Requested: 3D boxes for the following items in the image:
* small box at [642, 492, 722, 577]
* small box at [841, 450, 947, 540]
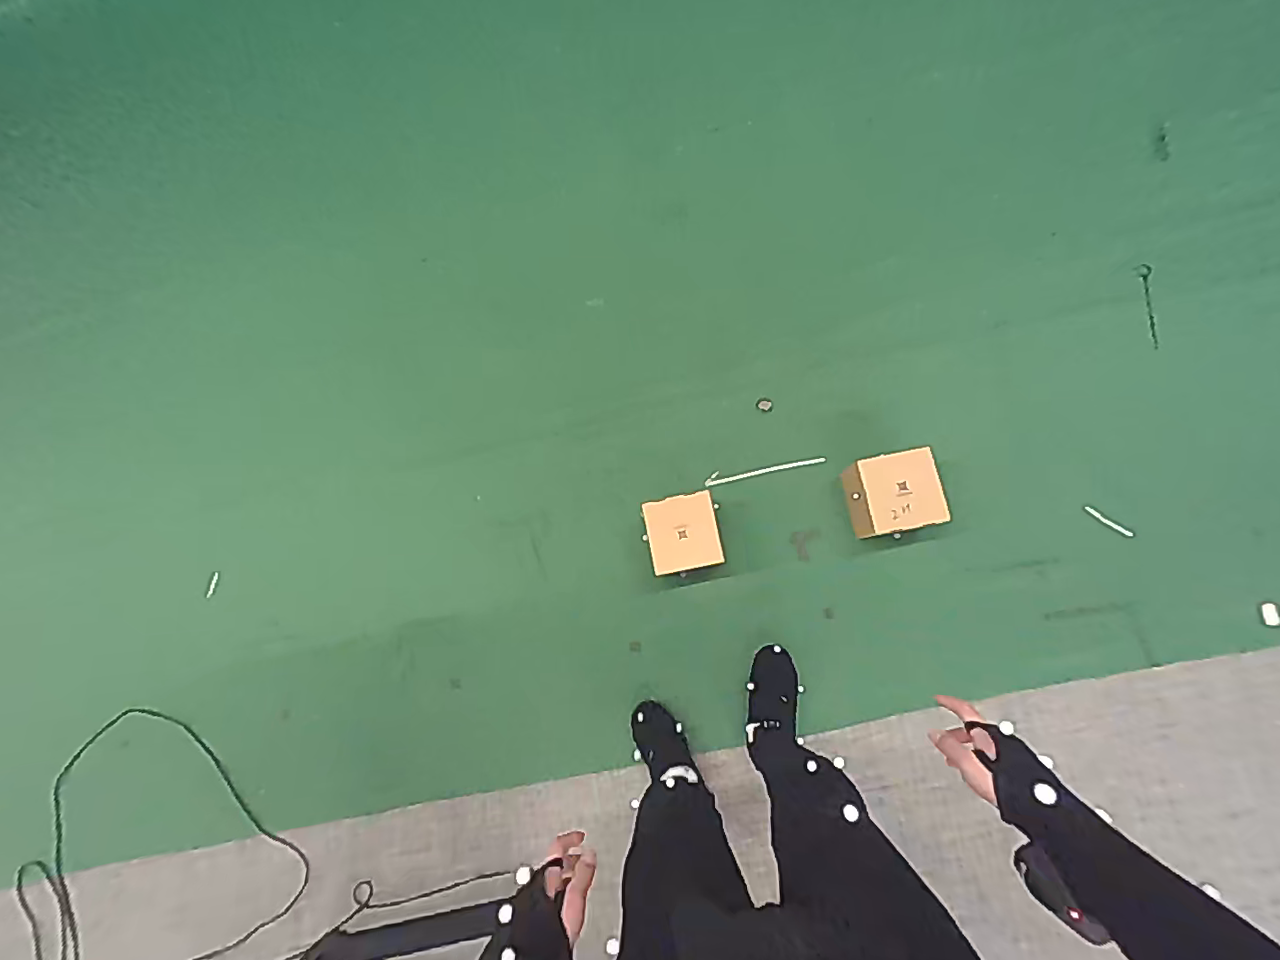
[{"bbox_3d":[0.108,0.140,1.345,0.168,0.176,0.179,-12,78,5],"label":"small box"},{"bbox_3d":[0.600,0.043,1.302,0.168,0.176,0.179,-11,79,5],"label":"small box"}]
